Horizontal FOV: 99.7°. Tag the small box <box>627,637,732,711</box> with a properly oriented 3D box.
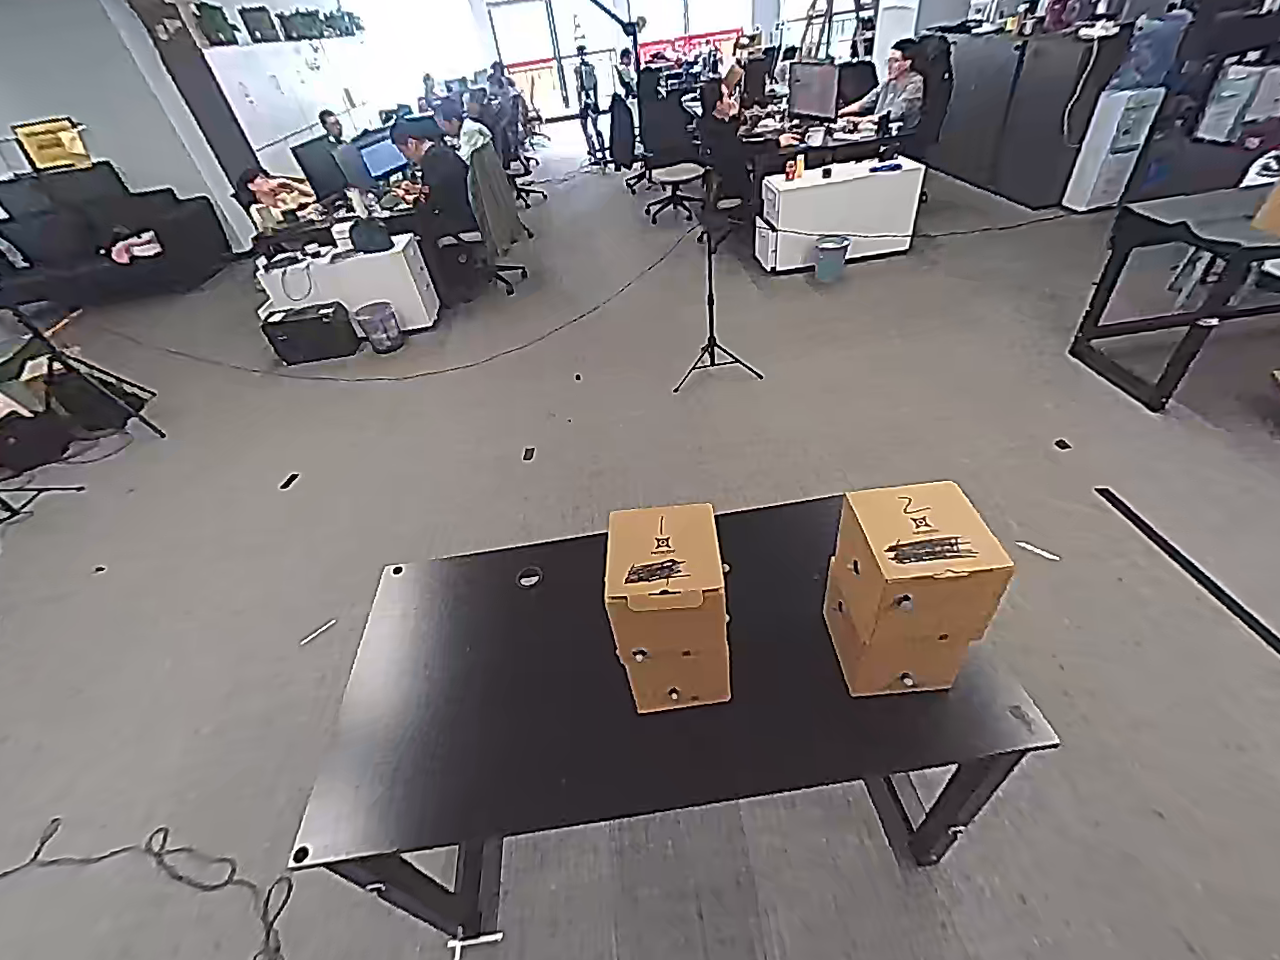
[{"bbox_3d":[0.063,0.277,0.951,0.168,0.176,0.179,-9,41,1],"label":"small box"}]

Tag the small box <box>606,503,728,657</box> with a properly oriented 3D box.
[{"bbox_3d":[0.045,0.160,0.837,0.168,0.176,0.179,-5,40,4],"label":"small box"}]

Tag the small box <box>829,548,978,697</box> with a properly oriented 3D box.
[{"bbox_3d":[0.429,0.241,0.918,0.168,0.176,0.179,-7,40,5],"label":"small box"}]
